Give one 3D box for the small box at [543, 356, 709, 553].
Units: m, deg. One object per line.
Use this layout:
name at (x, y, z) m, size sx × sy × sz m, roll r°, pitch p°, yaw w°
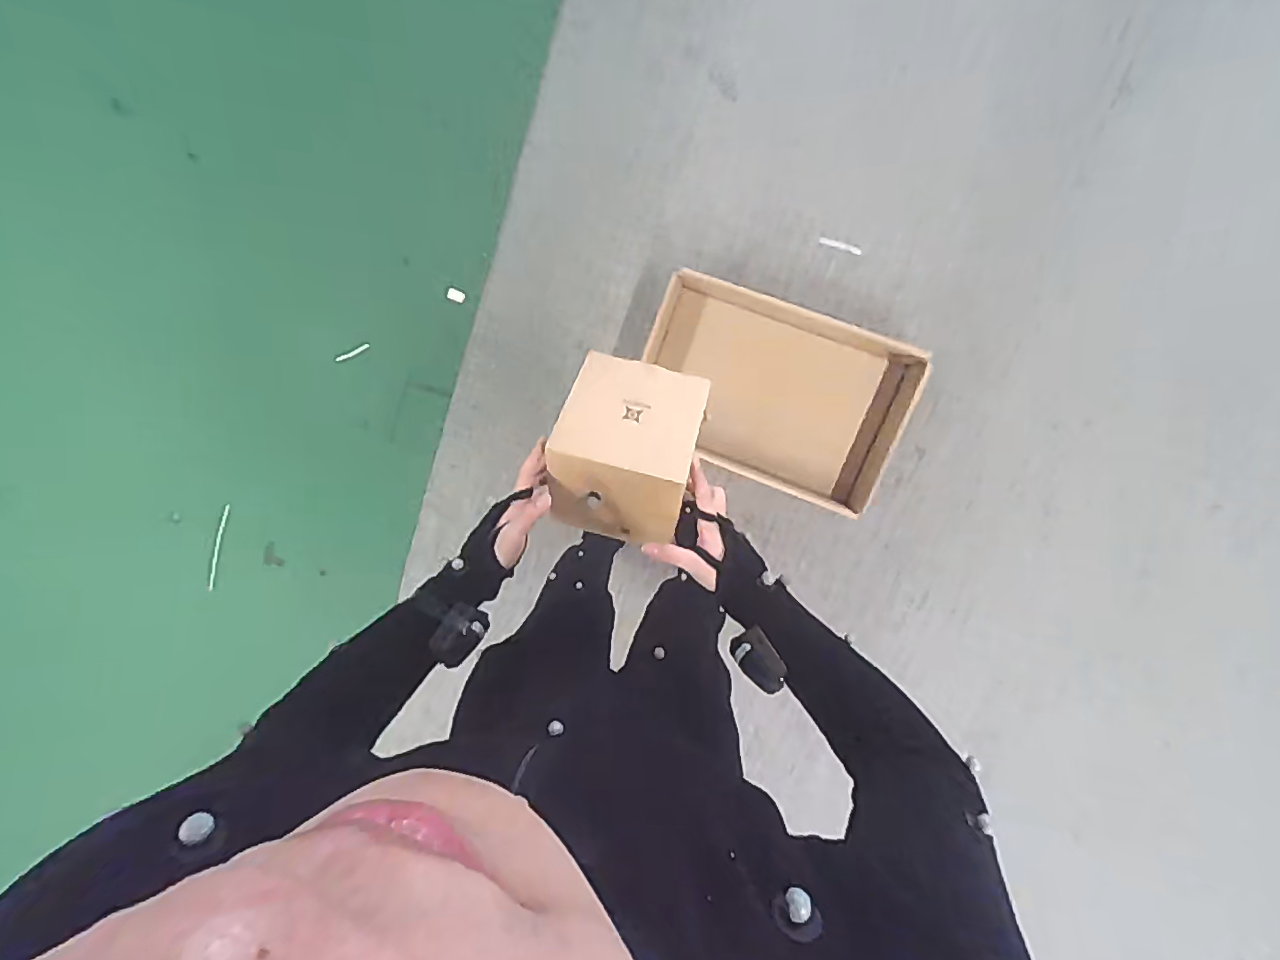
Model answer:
small box at (-0.016, -0.029, 0.705) m, size 0.168 × 0.179 × 0.176 m, roll 13°, pitch 143°, yaw 4°
